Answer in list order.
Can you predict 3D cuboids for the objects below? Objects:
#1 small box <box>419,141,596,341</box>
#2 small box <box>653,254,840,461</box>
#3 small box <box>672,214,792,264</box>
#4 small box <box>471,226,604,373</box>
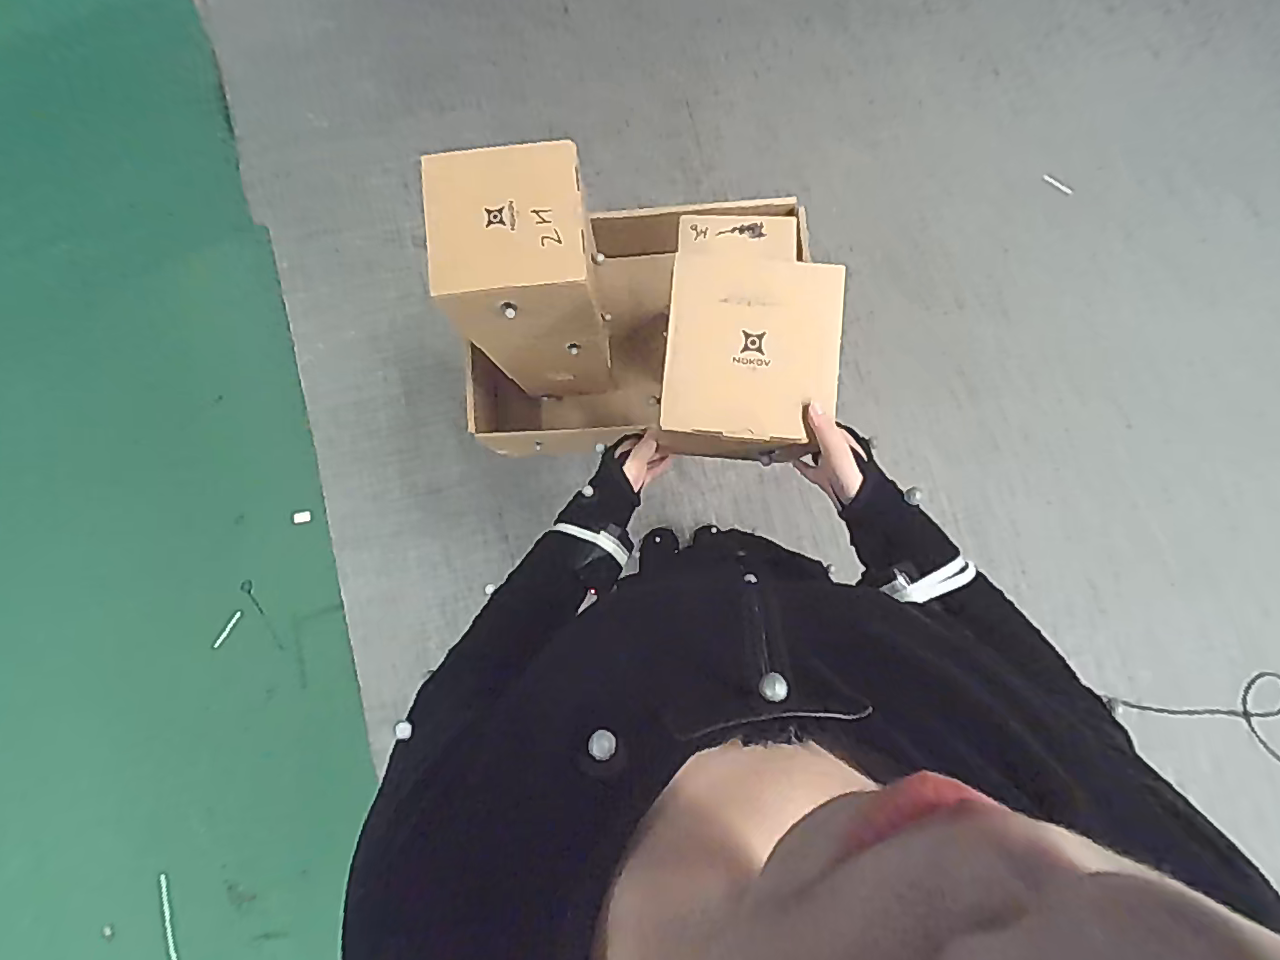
[{"bbox_3d":[-0.154,-0.282,0.673,0.179,0.176,0.168,-5,85,-1],"label":"small box"},{"bbox_3d":[0.105,-0.119,0.594,0.168,0.176,0.179,6,85,1],"label":"small box"},{"bbox_3d":[0.129,-0.278,0.829,0.168,0.176,0.179,3,86,1],"label":"small box"},{"bbox_3d":[-0.153,-0.270,0.838,0.179,0.176,0.168,-5,85,-1],"label":"small box"}]
